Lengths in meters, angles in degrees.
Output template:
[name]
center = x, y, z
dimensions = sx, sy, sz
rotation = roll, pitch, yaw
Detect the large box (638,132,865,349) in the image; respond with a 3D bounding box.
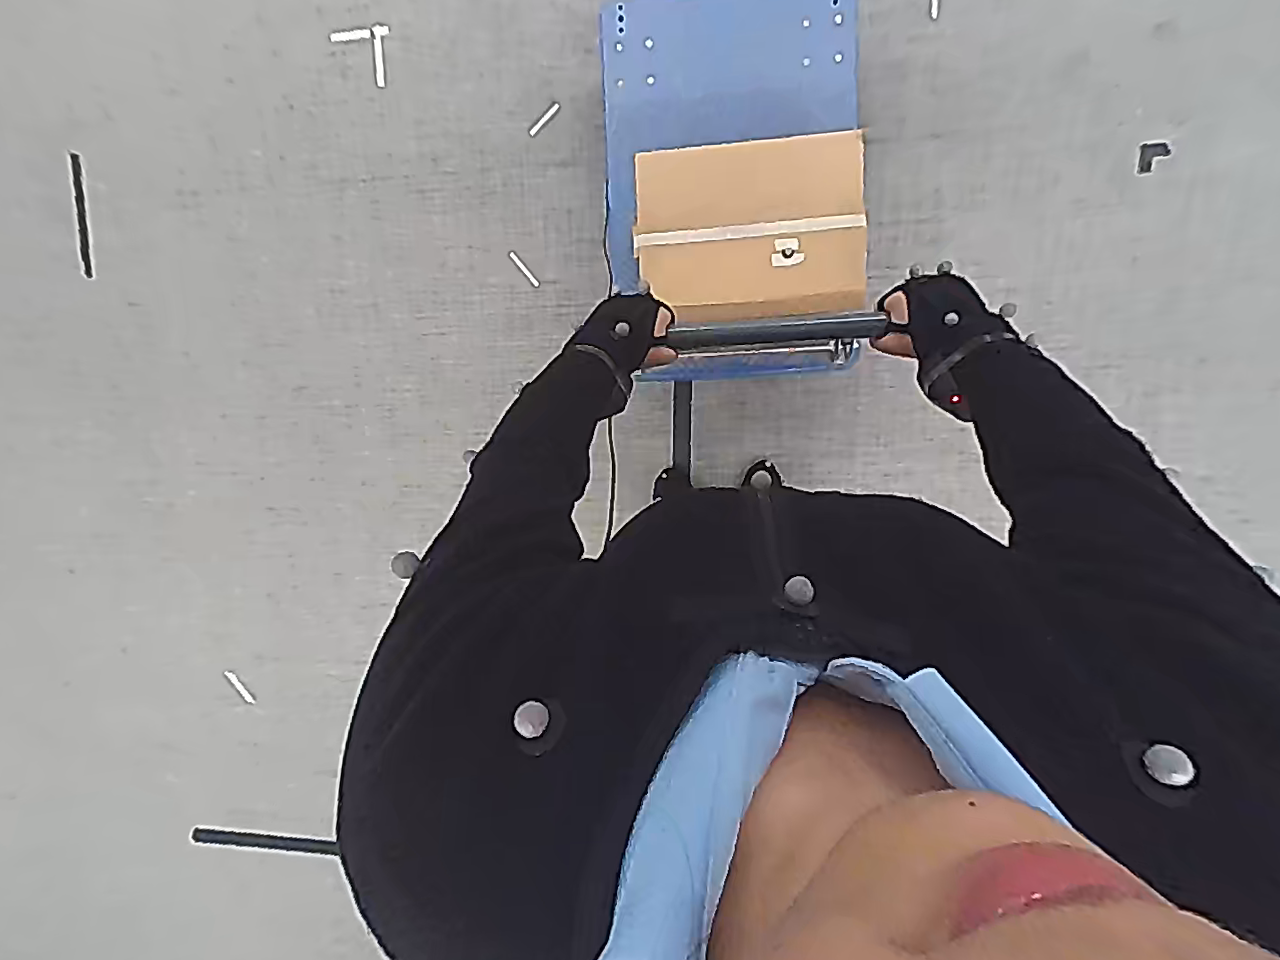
[large box]
center = 0.216, -0.468, 1.138
dimensions = 0.408, 0.320, 0.320
rotation = -2, 95, 6
